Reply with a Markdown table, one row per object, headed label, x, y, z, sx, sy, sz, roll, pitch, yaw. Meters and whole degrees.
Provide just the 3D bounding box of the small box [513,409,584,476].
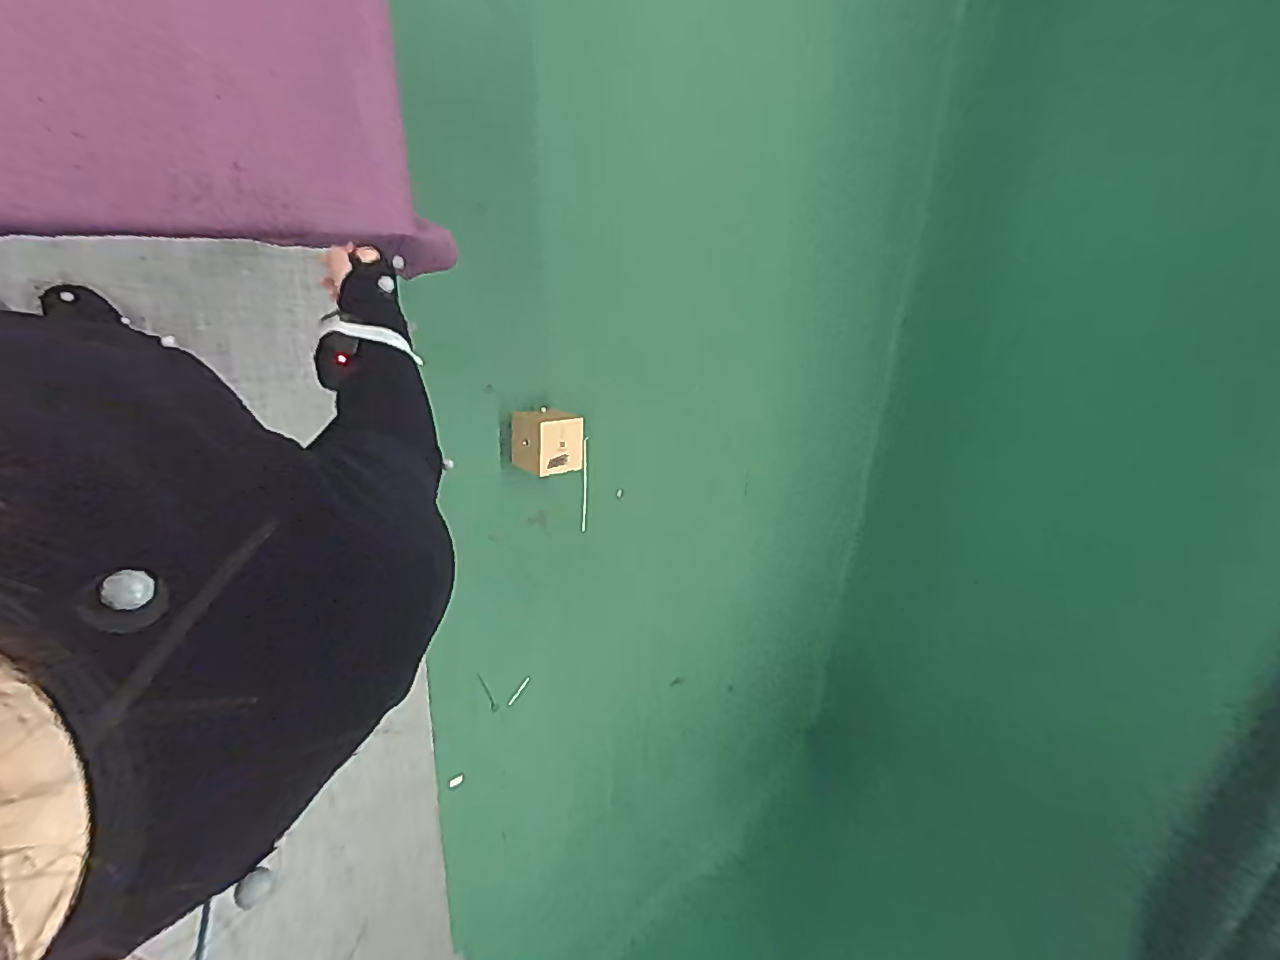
| label | x | y | z | sx | sy | sz | roll | pitch | yaw |
| --- | --- | --- | --- | --- | --- | --- | --- | --- | --- |
| small box | -0.298 | -0.126 | 1.748 | 0.168 | 0.176 | 0.179 | -13 | 114 | -41 |
